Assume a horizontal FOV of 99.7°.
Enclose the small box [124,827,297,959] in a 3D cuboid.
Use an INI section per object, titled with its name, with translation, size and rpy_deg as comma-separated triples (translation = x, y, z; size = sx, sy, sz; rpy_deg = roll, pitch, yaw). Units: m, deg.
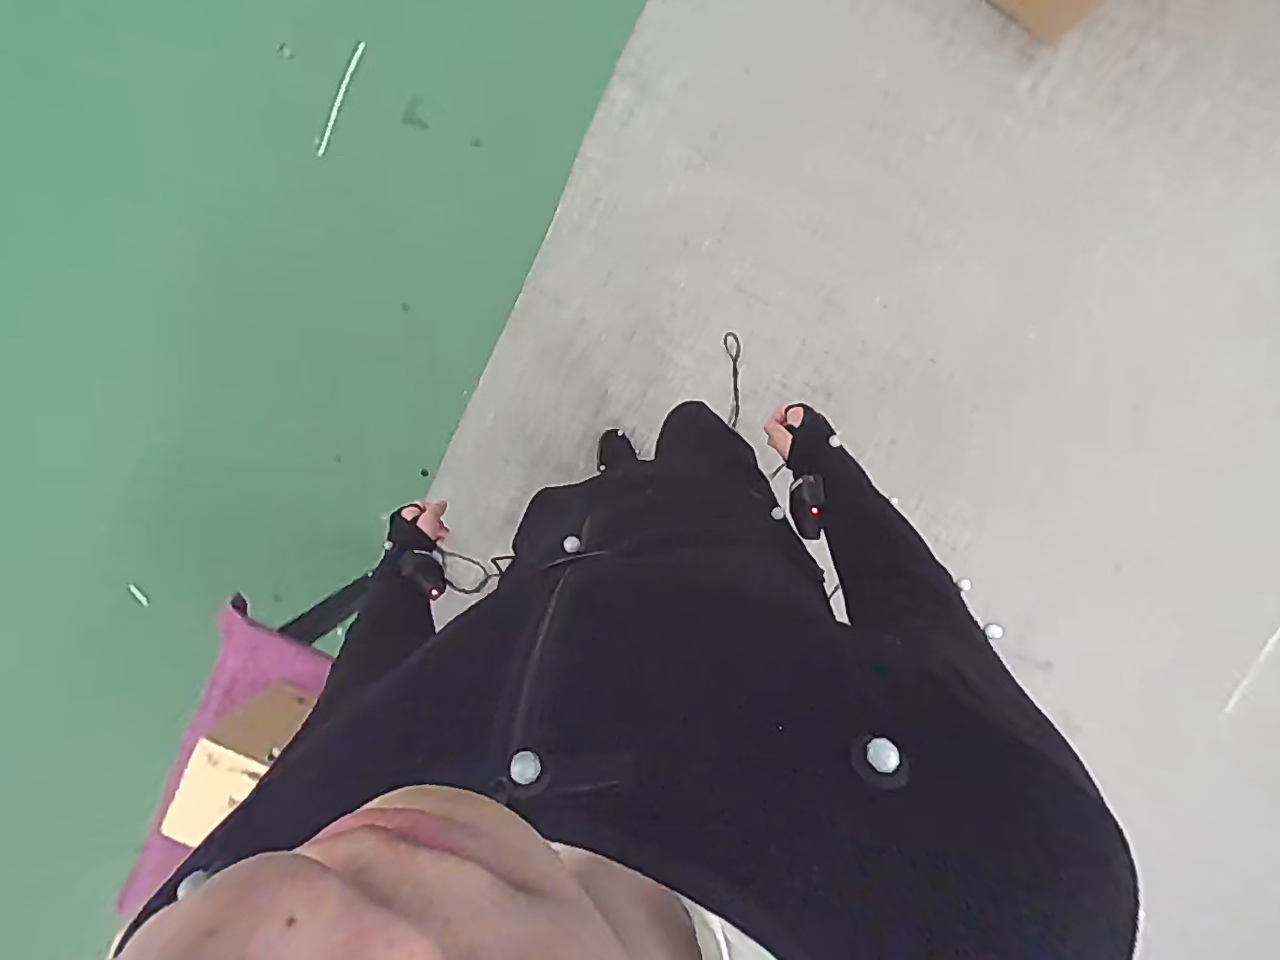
[small box]
translation = -0.757, 0.774, 0.965
size = 0.168, 0.176, 0.179
rpy_deg = 24, 98, -5
